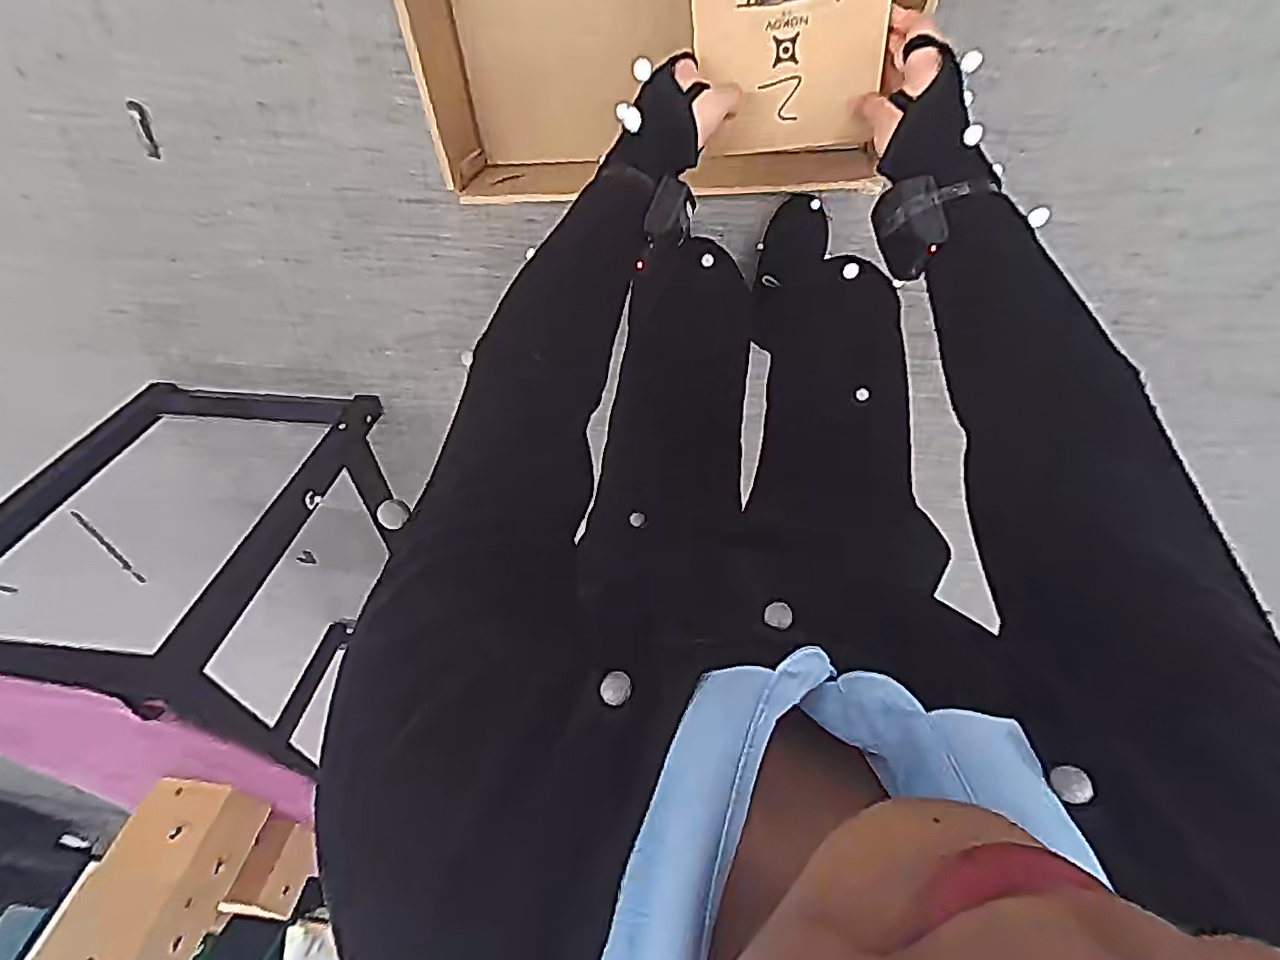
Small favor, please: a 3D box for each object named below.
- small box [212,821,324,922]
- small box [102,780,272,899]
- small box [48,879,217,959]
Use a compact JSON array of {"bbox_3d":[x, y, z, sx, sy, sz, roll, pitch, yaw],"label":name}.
[{"bbox_3d":[-0.906,0.939,1.305,0.168,0.176,0.179,4,134,3],"label":"small box"},{"bbox_3d":[-0.909,0.734,1.106,0.168,0.176,0.179,5,135,3],"label":"small box"},{"bbox_3d":[-0.932,0.853,0.995,0.179,0.176,0.168,5,135,3],"label":"small box"}]
